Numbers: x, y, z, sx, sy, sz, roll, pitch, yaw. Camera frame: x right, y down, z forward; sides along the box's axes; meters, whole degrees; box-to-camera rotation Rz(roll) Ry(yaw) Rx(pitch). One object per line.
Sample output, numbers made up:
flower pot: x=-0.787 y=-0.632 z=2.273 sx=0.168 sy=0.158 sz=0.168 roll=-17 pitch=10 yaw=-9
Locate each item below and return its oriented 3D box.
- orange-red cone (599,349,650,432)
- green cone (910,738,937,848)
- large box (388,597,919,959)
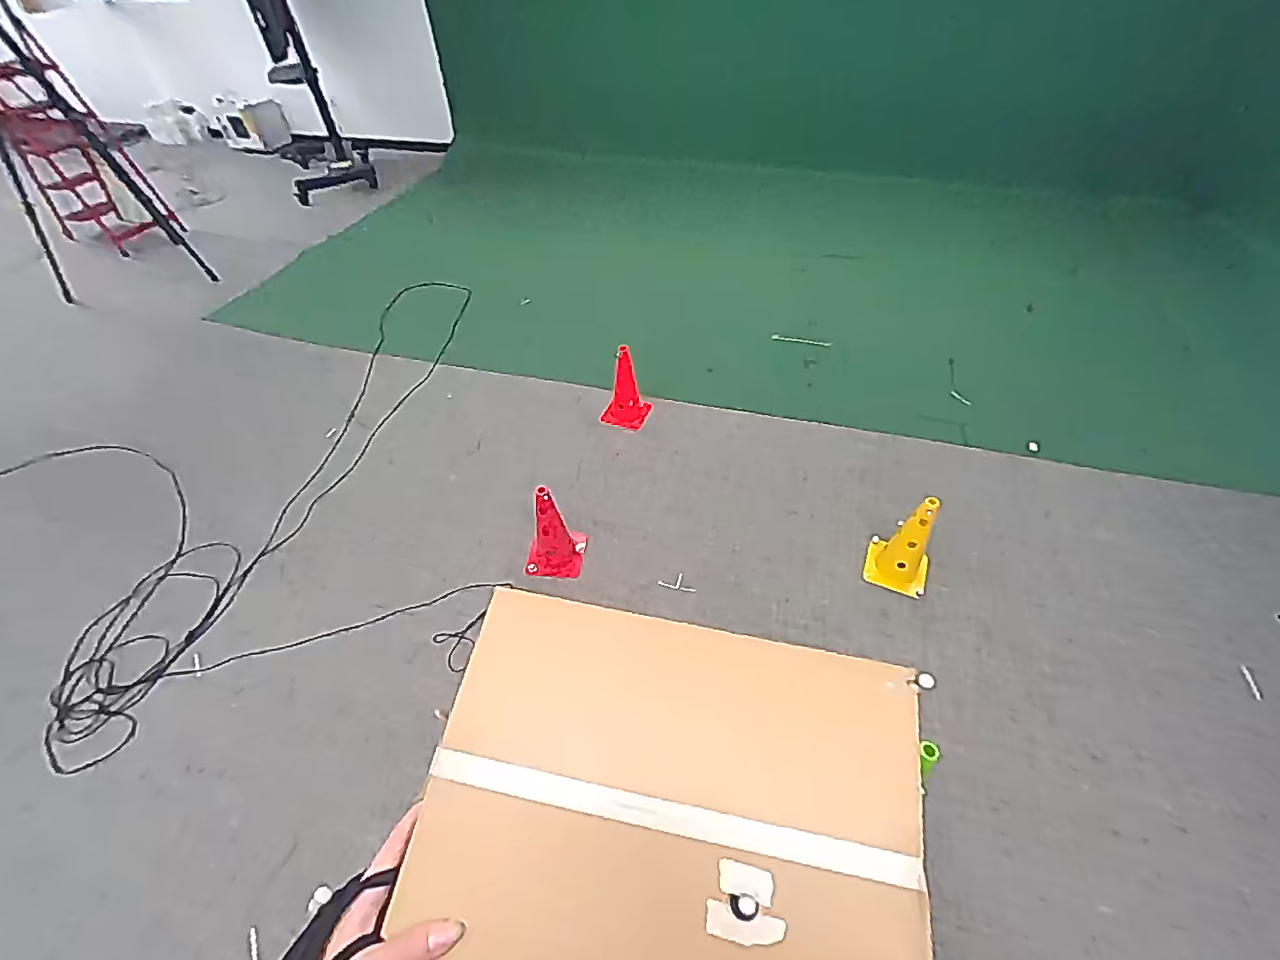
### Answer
orange-red cone: x=-0.077 y=-0.418 z=2.394 sx=0.199 sy=0.360 sz=0.198 roll=16 pitch=48 yaw=18
green cone: x=0.638 y=0.719 z=1.314 sx=0.200 sy=0.368 sz=0.202 roll=16 pitch=48 yaw=15
large box: x=0.027 y=0.349 z=0.584 sx=0.408 sy=0.320 sz=0.320 roll=10 pitch=63 yaw=6
